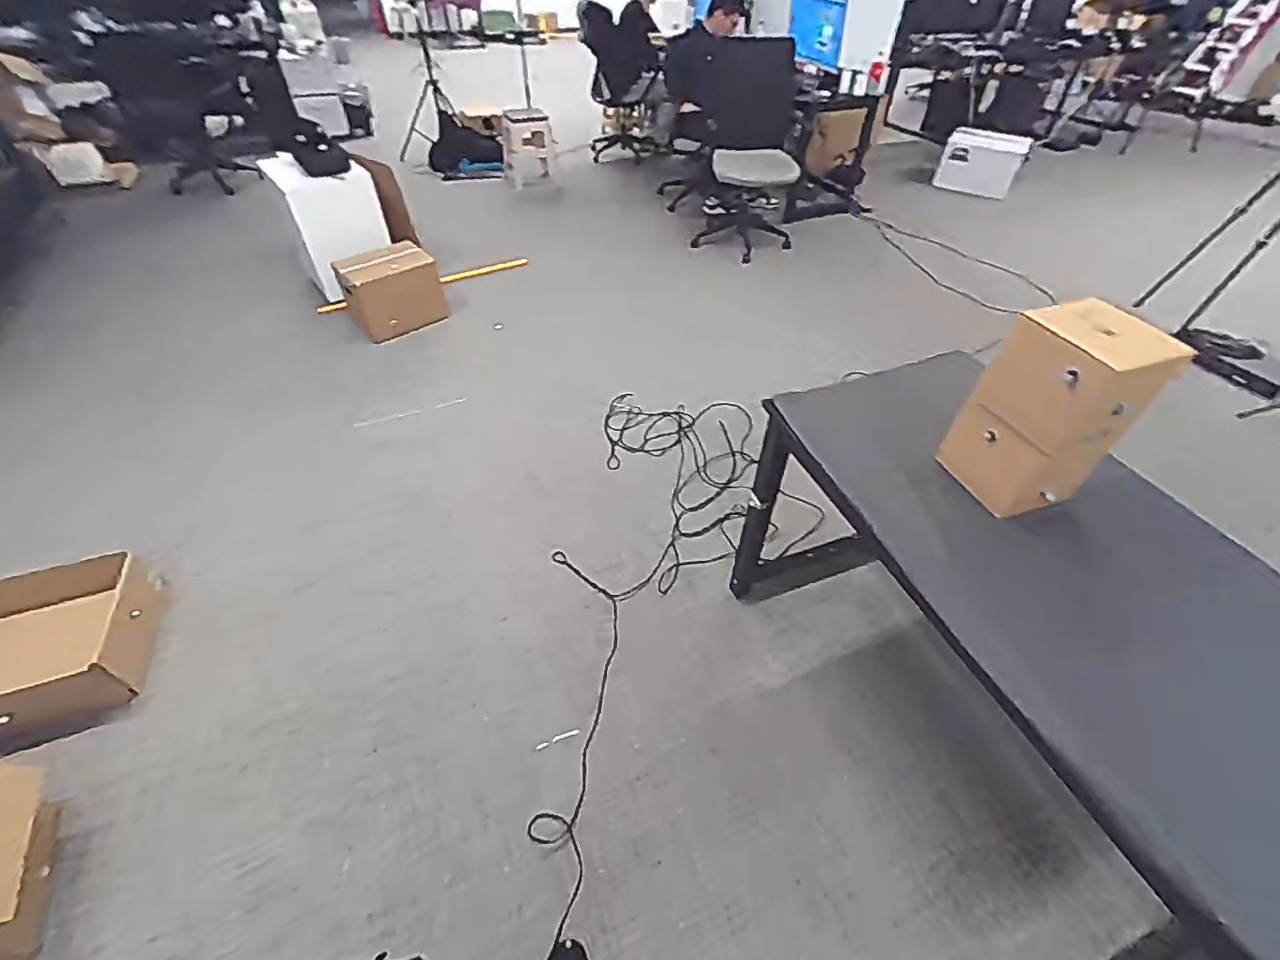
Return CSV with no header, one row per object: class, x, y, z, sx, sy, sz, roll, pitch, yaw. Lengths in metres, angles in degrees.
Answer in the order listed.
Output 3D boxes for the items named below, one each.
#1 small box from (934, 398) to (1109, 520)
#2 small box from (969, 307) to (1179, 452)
small box,0.705,-0.051,1.026,0.168,0.176,0.179,-12,48,-14
small box,0.706,-0.162,0.904,0.168,0.176,0.179,-13,47,-16
